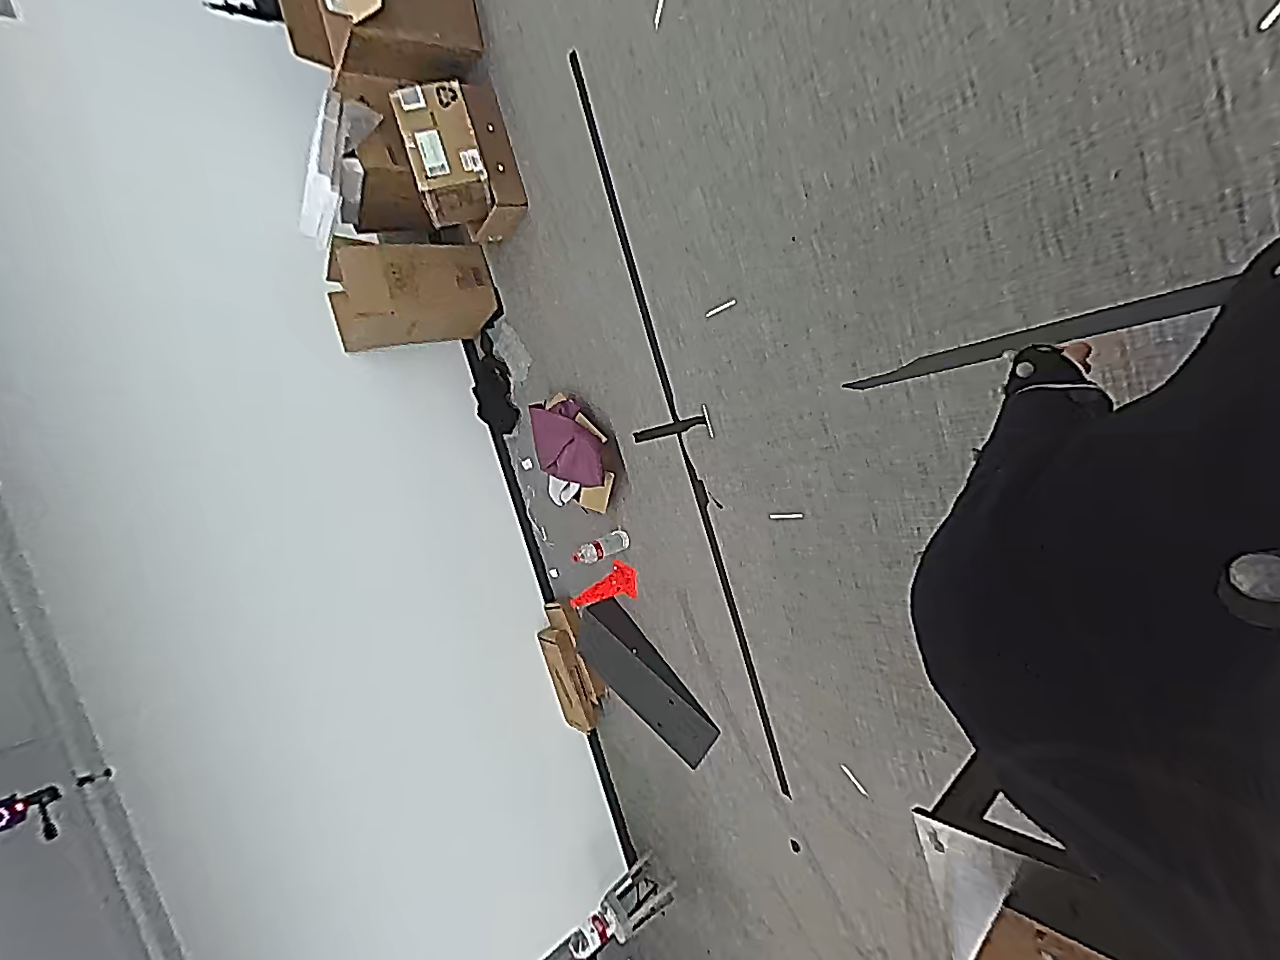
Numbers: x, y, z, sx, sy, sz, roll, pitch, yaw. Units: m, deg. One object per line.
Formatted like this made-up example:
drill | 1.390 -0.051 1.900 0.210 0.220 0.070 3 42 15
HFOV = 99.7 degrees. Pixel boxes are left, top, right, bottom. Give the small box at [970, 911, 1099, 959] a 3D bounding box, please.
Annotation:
small box | 0.606 0.812 0.800 0.168 0.176 0.179 -7 101 54
